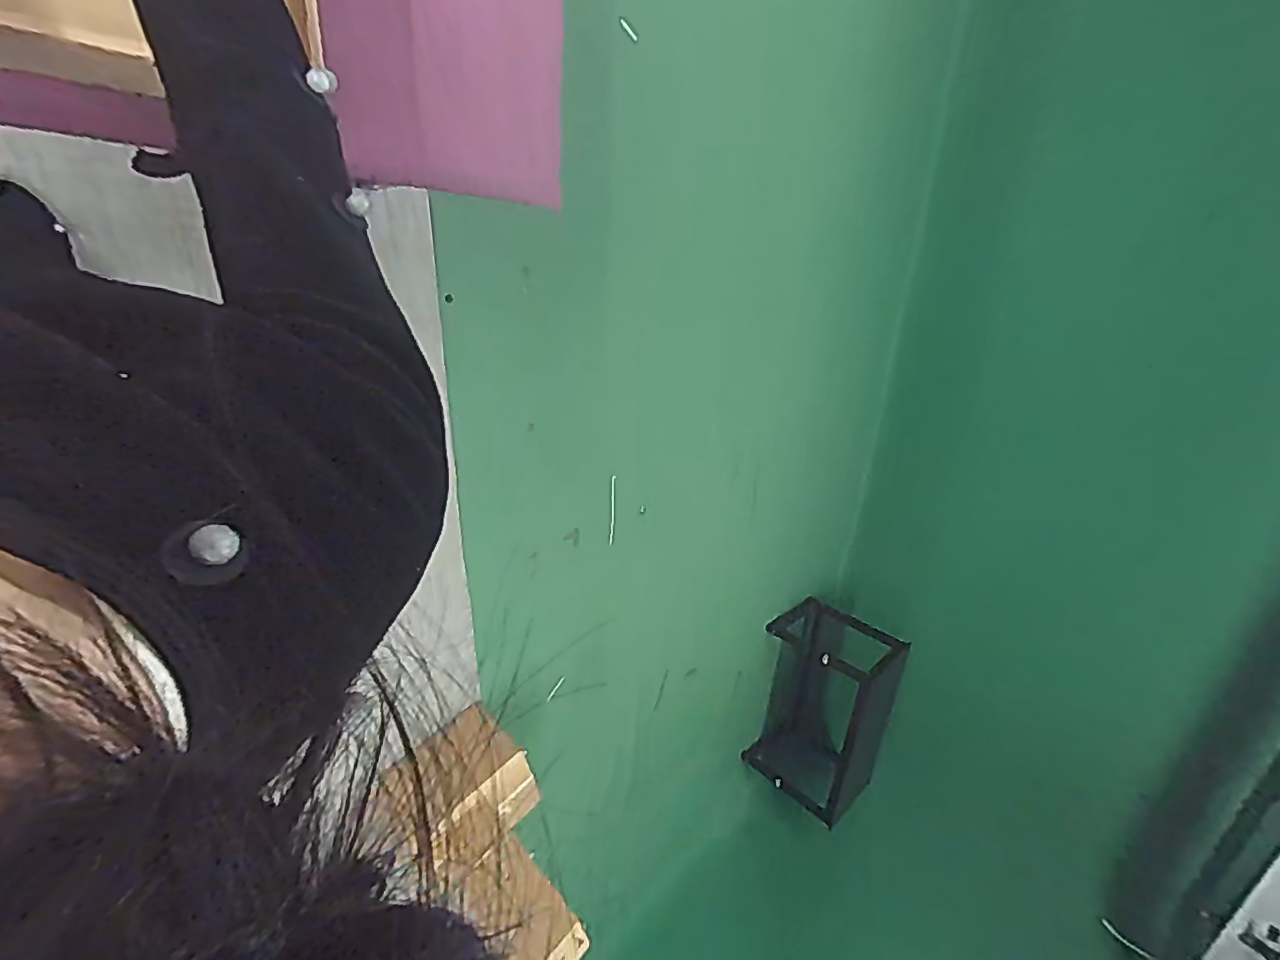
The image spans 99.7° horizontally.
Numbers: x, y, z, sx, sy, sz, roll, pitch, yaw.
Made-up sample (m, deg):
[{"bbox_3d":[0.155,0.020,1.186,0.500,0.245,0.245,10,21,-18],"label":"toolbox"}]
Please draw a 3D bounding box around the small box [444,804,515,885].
[{"bbox_3d":[-0.493,1.171,1.710,0.168,0.176,0.179,-32,128,-33],"label":"small box"}]

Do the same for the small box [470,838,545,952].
[{"bbox_3d":[-0.382,1.223,1.601,0.179,0.176,0.168,-34,128,-32],"label":"small box"}]

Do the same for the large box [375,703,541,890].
[{"bbox_3d":[-0.630,1.091,1.900,0.408,0.320,0.320,-34,130,-34],"label":"large box"}]

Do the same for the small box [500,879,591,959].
[{"bbox_3d":[-0.266,1.272,1.495,0.179,0.176,0.168,-32,128,-32],"label":"small box"}]
